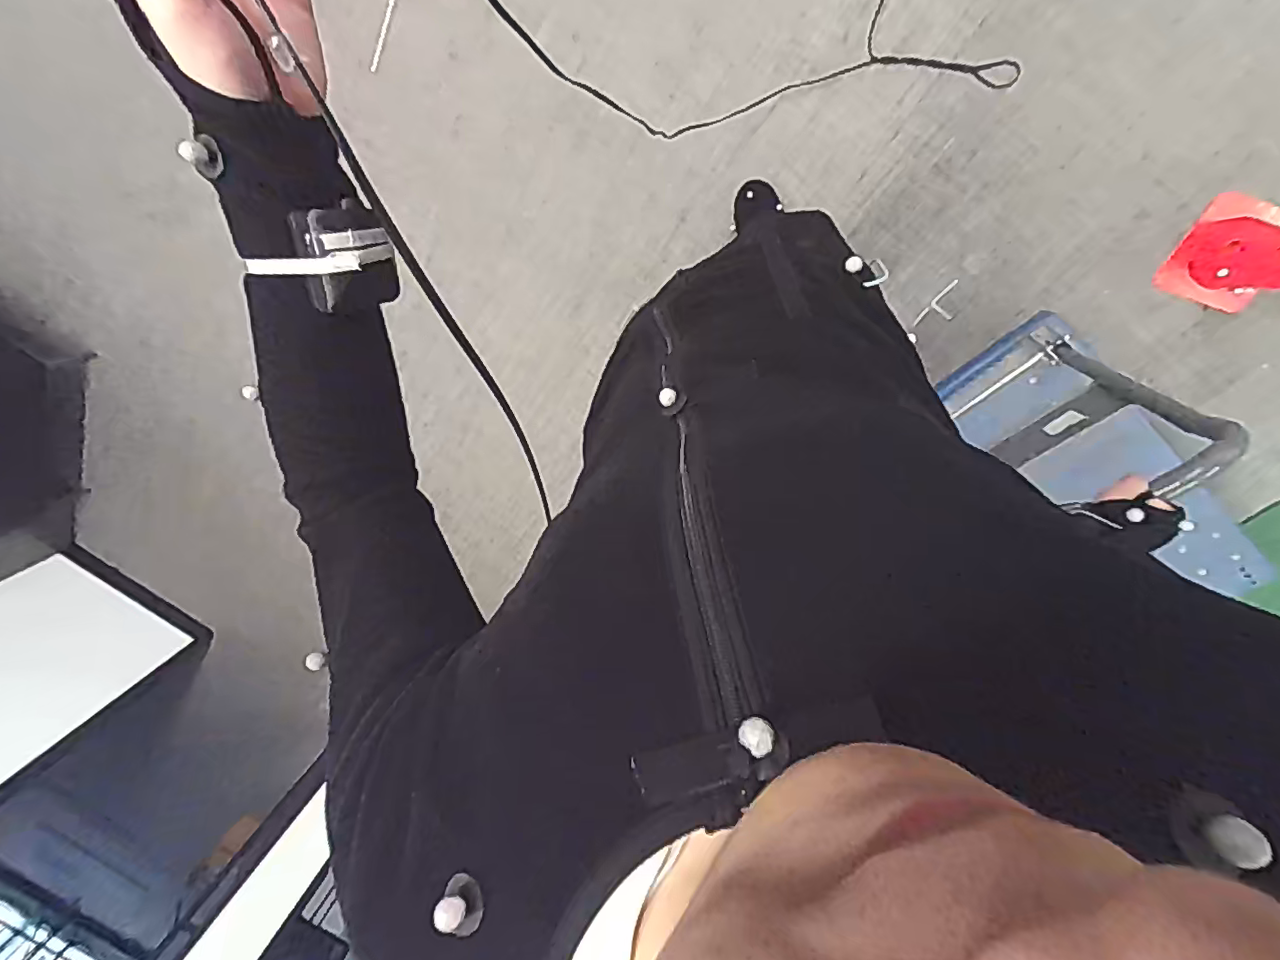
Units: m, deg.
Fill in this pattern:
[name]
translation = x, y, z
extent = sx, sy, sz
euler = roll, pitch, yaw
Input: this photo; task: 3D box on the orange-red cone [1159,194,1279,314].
[orange-red cone]
translation = 1.224, -0.402, 1.004
extent = 0.198, 0.360, 0.199
euler = 23, 119, 2
